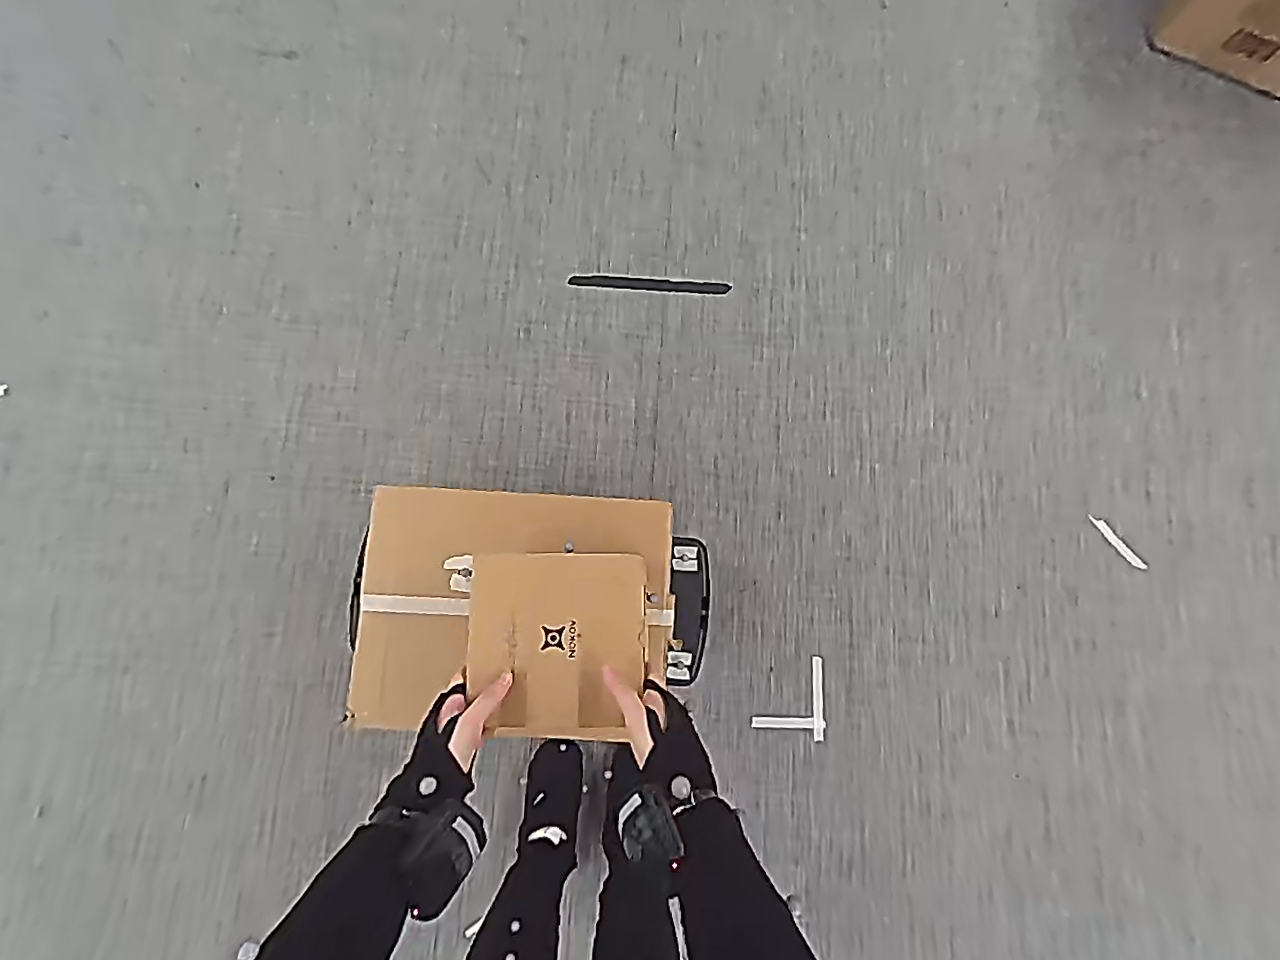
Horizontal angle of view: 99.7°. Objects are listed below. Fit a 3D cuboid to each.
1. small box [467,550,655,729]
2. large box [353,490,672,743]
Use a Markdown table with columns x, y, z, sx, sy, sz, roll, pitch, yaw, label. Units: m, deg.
| x | y | z | sx | sy | sz | roll | pitch | yaw | label |
| --- | --- | --- | --- | --- | --- | --- | --- | --- | --- |
| -0.074 | 0.165 | 0.597 | 0.179 | 0.176 | 0.168 | 1 | 79 | 1 | small box |
| -0.159 | 0.196 | 0.853 | 0.408 | 0.320 | 0.320 | 3 | 80 | 0 | large box |
